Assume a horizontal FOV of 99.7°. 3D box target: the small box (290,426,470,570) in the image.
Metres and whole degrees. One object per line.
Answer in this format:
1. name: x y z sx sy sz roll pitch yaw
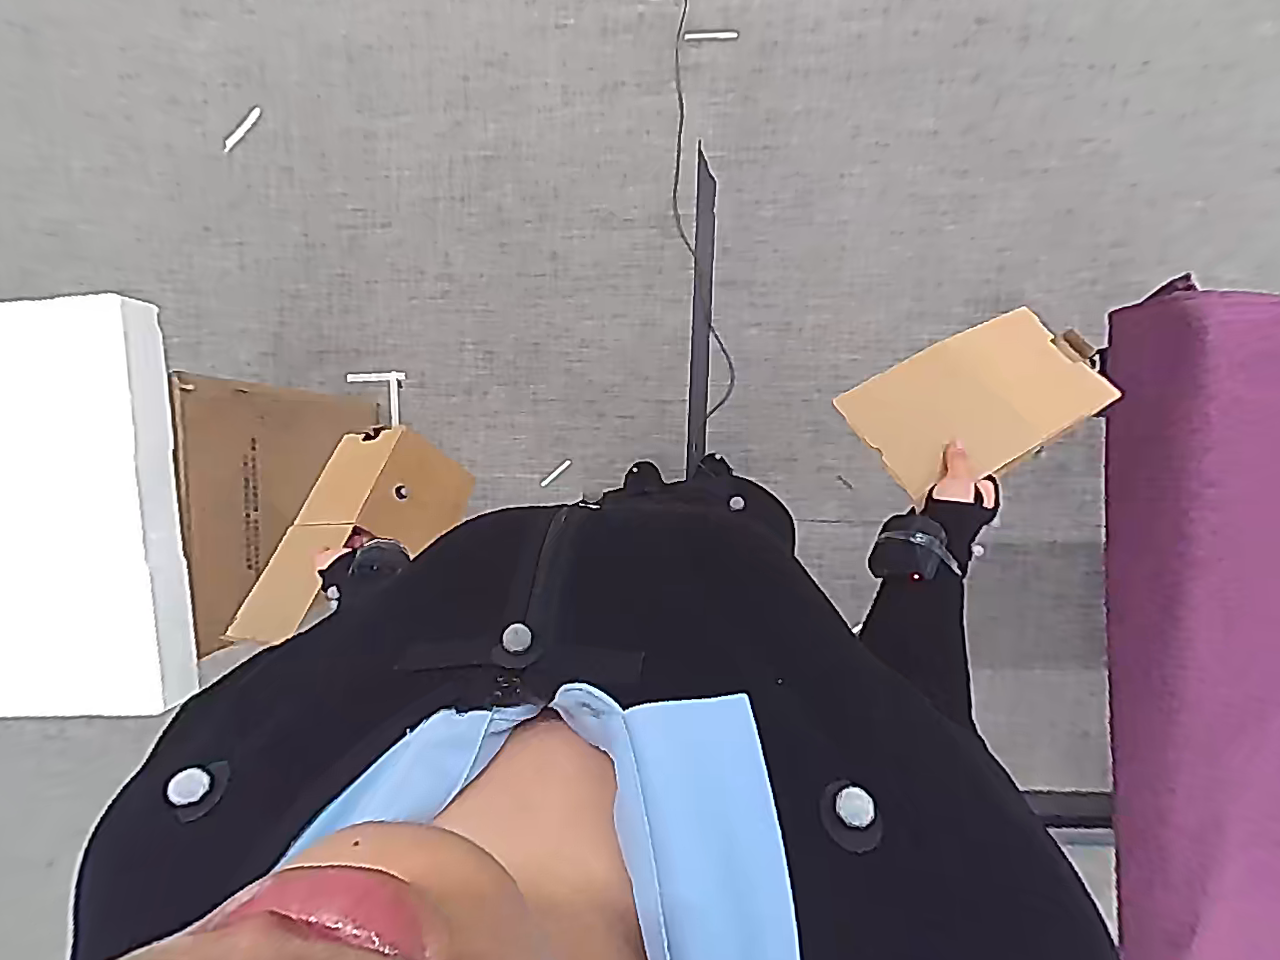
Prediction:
1. small box: -0.411 0.036 0.883 0.168 0.176 0.179 -3 57 29
